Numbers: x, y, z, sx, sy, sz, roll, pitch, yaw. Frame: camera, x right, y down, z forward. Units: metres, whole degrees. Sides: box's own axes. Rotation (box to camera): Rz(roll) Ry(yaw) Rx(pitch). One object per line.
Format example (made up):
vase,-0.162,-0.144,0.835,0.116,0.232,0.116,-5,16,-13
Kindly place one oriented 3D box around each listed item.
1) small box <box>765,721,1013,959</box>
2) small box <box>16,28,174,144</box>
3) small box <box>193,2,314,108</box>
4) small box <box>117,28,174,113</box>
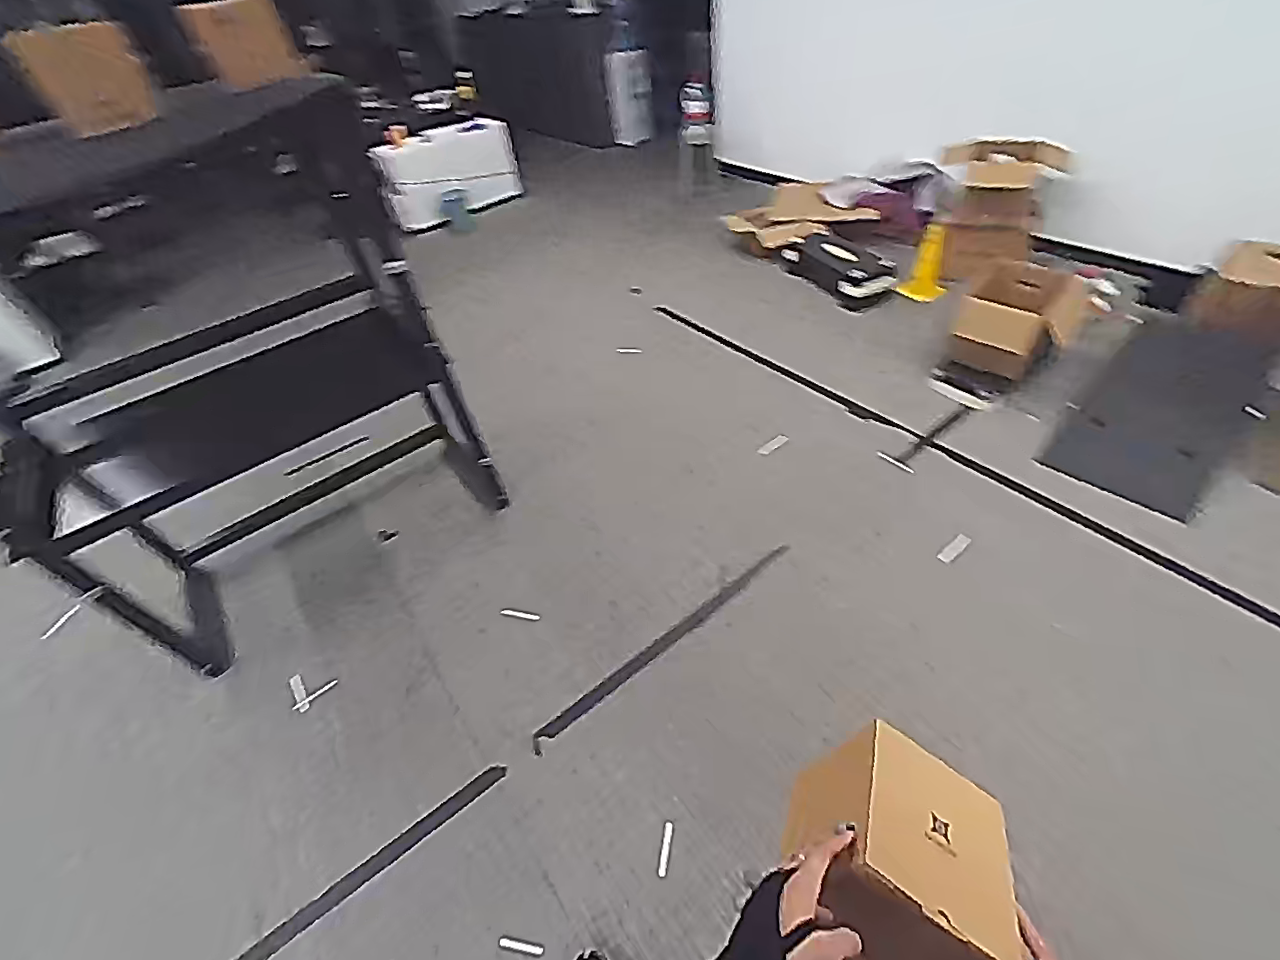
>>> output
small box,0.259,0.415,0.593,0.168,0.176,0.179,33,35,6
small box,-1.133,-0.830,1.143,0.168,0.176,0.179,-31,47,-19
small box,-0.895,-0.987,1.260,0.168,0.176,0.179,-30,47,-18
small box,-1.271,-0.965,1.303,0.179,0.176,0.168,-30,48,-20
